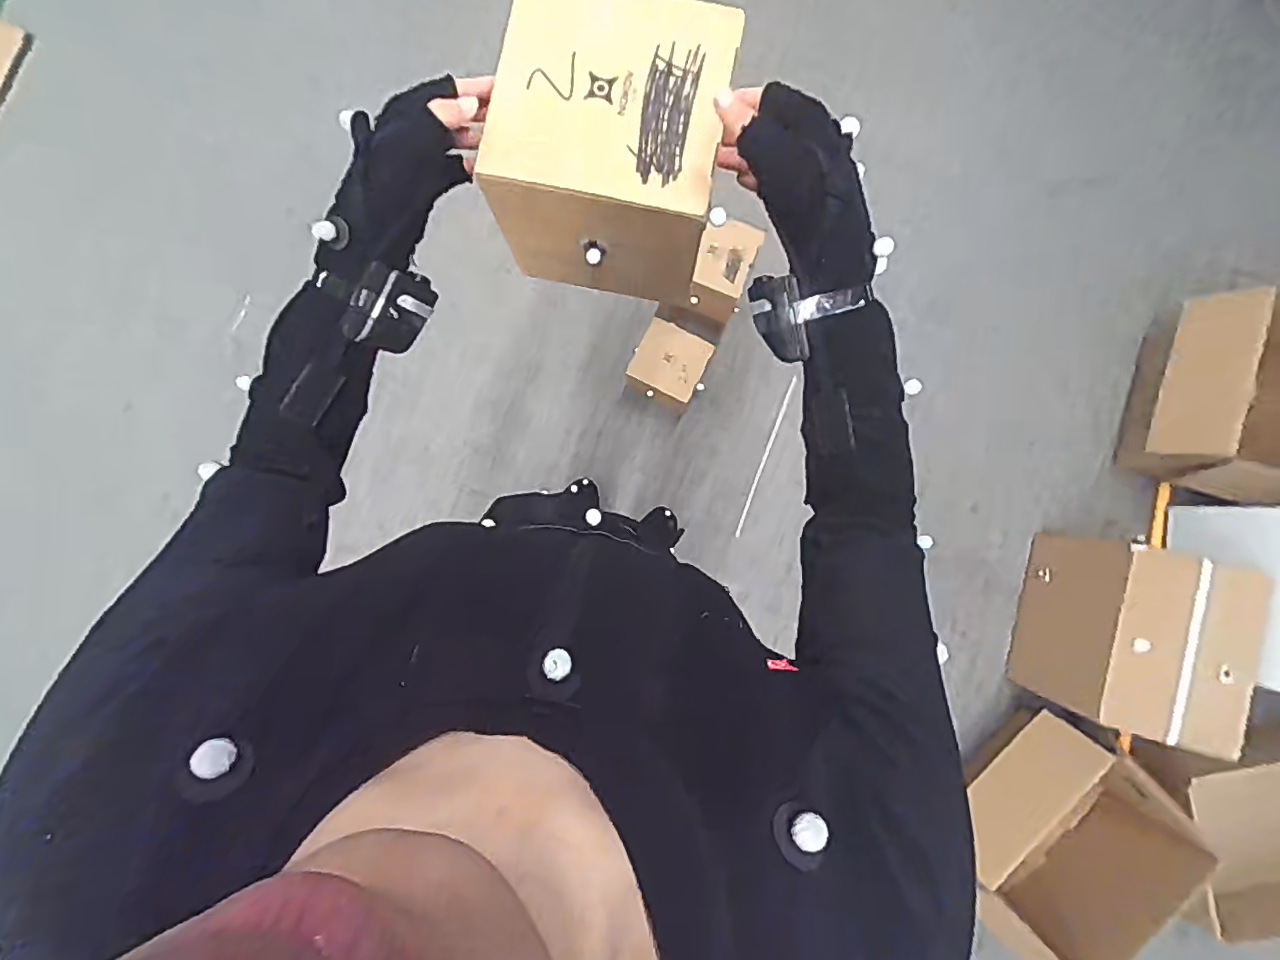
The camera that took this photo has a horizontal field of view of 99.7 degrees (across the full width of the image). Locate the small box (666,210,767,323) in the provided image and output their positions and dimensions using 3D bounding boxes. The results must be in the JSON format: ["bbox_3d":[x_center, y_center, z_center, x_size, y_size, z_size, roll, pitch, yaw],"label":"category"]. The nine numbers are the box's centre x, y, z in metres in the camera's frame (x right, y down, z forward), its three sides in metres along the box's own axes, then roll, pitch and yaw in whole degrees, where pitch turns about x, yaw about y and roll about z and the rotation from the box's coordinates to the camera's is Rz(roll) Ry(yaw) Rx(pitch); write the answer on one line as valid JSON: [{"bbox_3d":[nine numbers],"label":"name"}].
[{"bbox_3d":[0.171,-0.491,1.274,0.179,0.176,0.168,23,87,2],"label":"small box"}]

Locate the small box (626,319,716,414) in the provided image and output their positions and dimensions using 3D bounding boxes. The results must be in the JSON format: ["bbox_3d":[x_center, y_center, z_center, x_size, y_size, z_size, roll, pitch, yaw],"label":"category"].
[{"bbox_3d":[0.078,-0.289,1.427,0.179,0.176,0.168,27,88,1],"label":"small box"}]

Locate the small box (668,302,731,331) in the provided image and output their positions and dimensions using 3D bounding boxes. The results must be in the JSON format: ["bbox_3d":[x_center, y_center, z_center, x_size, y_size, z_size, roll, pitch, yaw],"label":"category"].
[{"bbox_3d":[0.178,-0.515,1.440,0.179,0.176,0.168,17,87,1],"label":"small box"}]
